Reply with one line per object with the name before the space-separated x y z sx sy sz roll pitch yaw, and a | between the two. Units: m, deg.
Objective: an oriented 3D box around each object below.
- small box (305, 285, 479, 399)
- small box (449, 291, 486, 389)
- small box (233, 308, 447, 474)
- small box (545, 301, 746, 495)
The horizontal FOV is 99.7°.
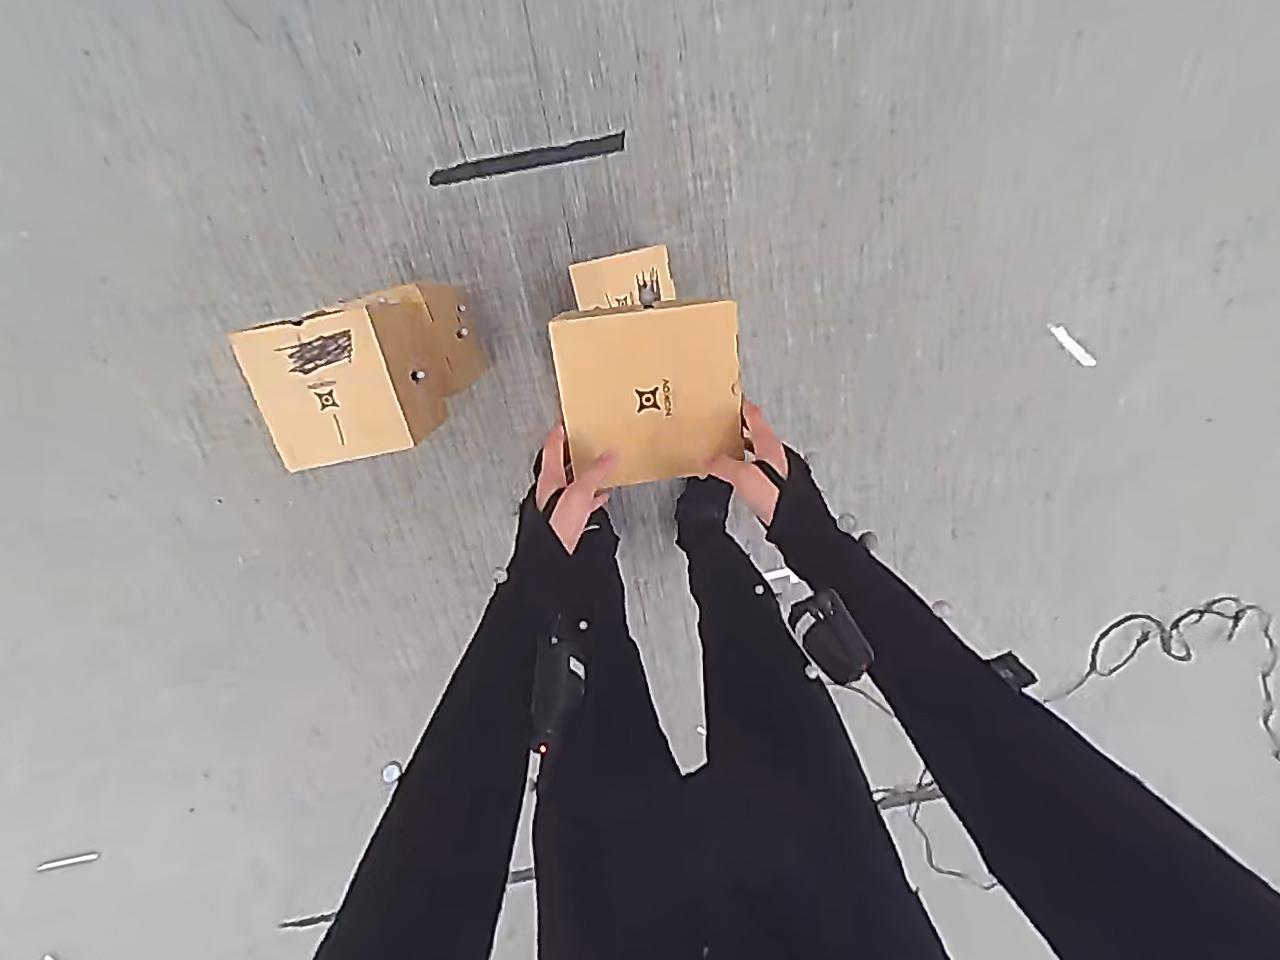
small box | -0.383 -0.207 0.870 0.179 0.176 0.168 -15 110 1
small box | -0.409 -0.255 1.025 0.168 0.176 0.179 -14 110 0
small box | -0.380 -0.128 0.723 0.168 0.176 0.179 -11 110 0
small box | 0.004 -0.096 0.580 0.179 0.176 0.168 -8 109 -3
